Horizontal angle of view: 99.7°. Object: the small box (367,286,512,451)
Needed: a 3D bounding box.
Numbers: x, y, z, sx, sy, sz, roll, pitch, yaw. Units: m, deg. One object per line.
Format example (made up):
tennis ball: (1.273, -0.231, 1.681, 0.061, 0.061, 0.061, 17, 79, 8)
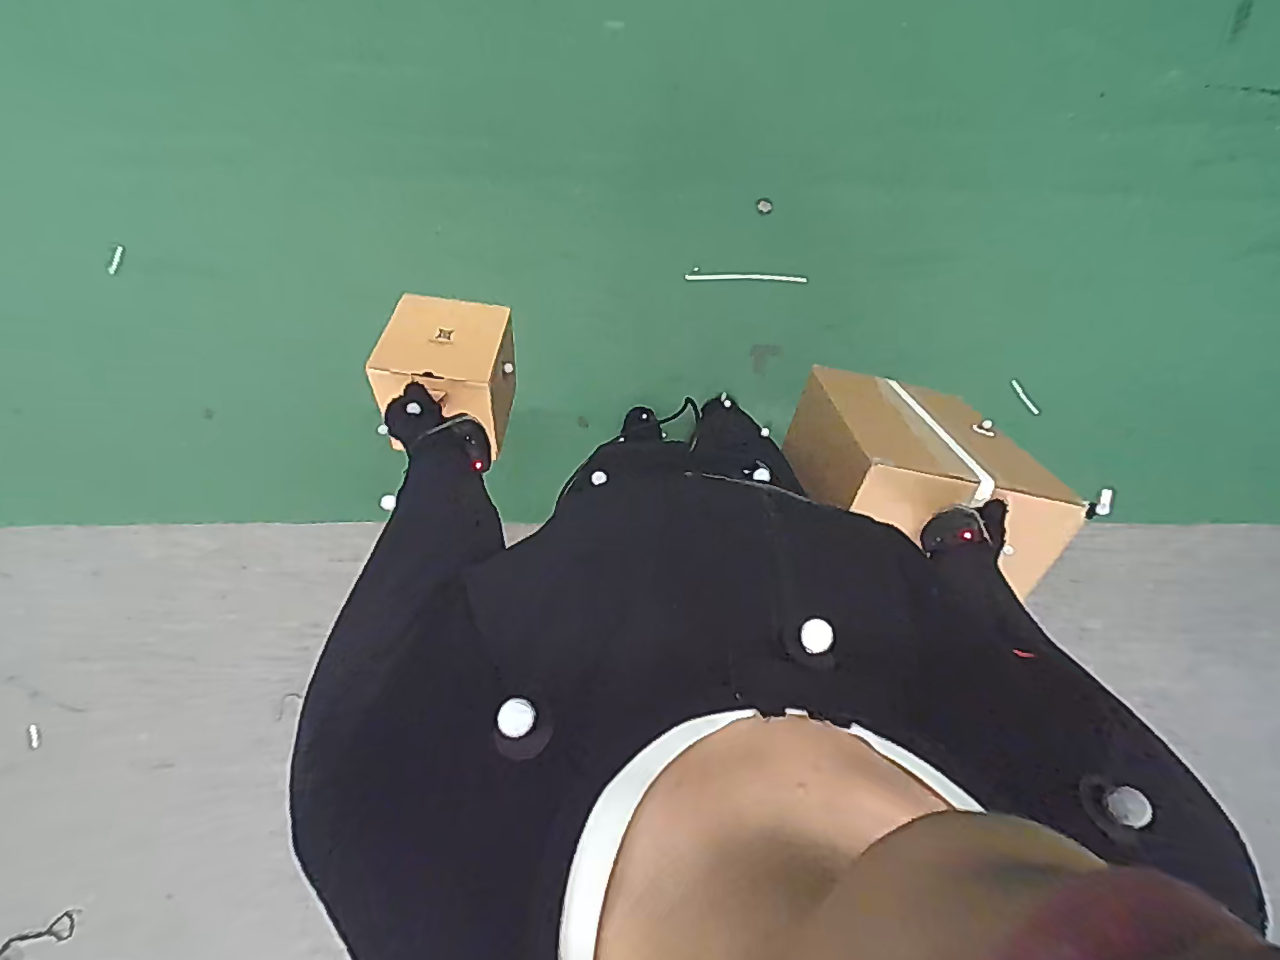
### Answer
small box: (-0.299, -0.172, 0.850, 0.168, 0.176, 0.179, 7, 55, -5)
